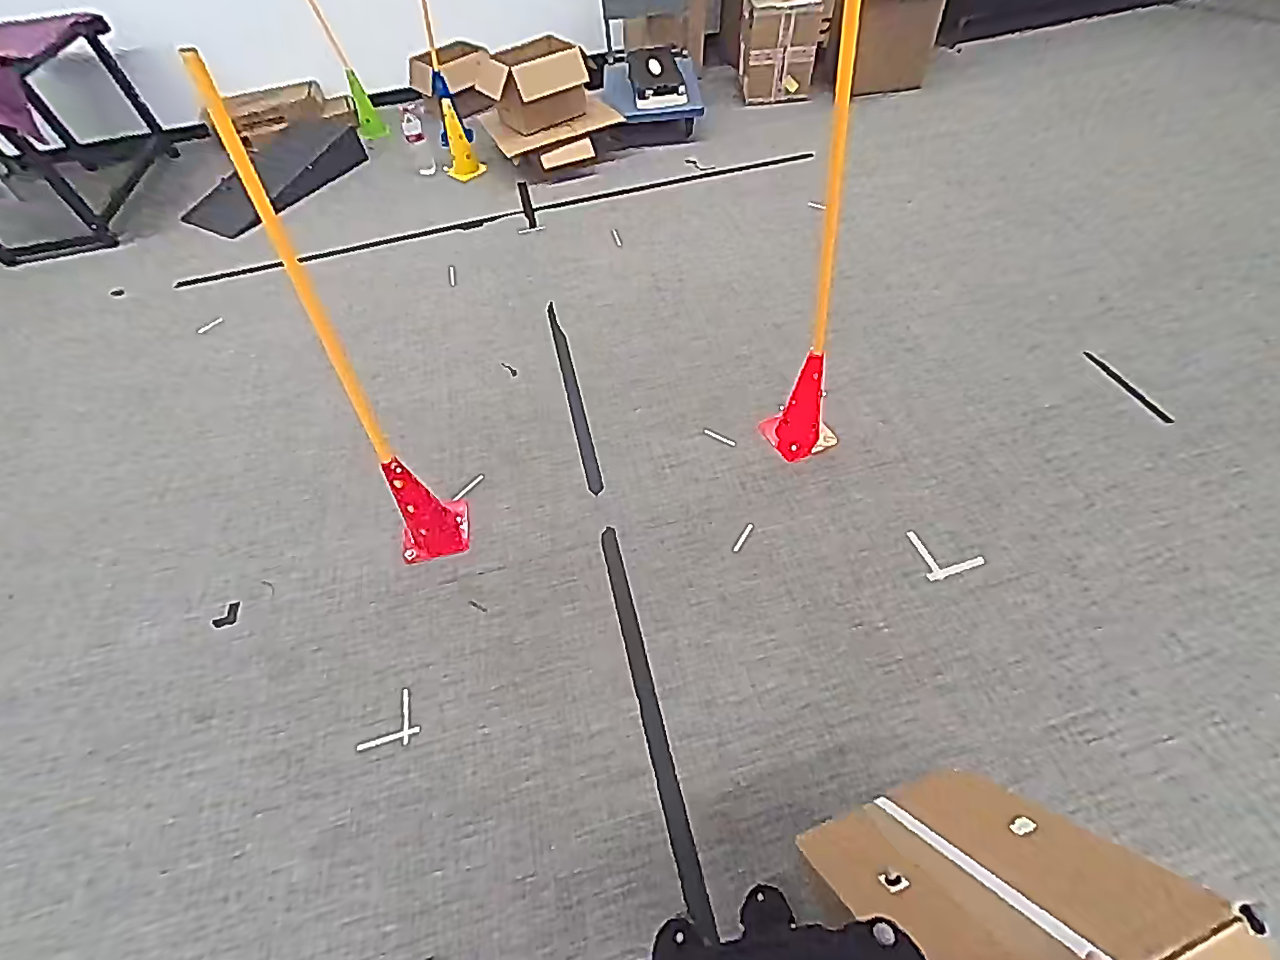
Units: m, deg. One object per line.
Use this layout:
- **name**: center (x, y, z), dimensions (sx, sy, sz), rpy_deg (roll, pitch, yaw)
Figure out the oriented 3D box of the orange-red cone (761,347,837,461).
- **orange-red cone**: center (0.518, -0.260, 1.665), dimensions (0.199, 0.360, 0.198), rpy_deg (-20, 55, -11)
